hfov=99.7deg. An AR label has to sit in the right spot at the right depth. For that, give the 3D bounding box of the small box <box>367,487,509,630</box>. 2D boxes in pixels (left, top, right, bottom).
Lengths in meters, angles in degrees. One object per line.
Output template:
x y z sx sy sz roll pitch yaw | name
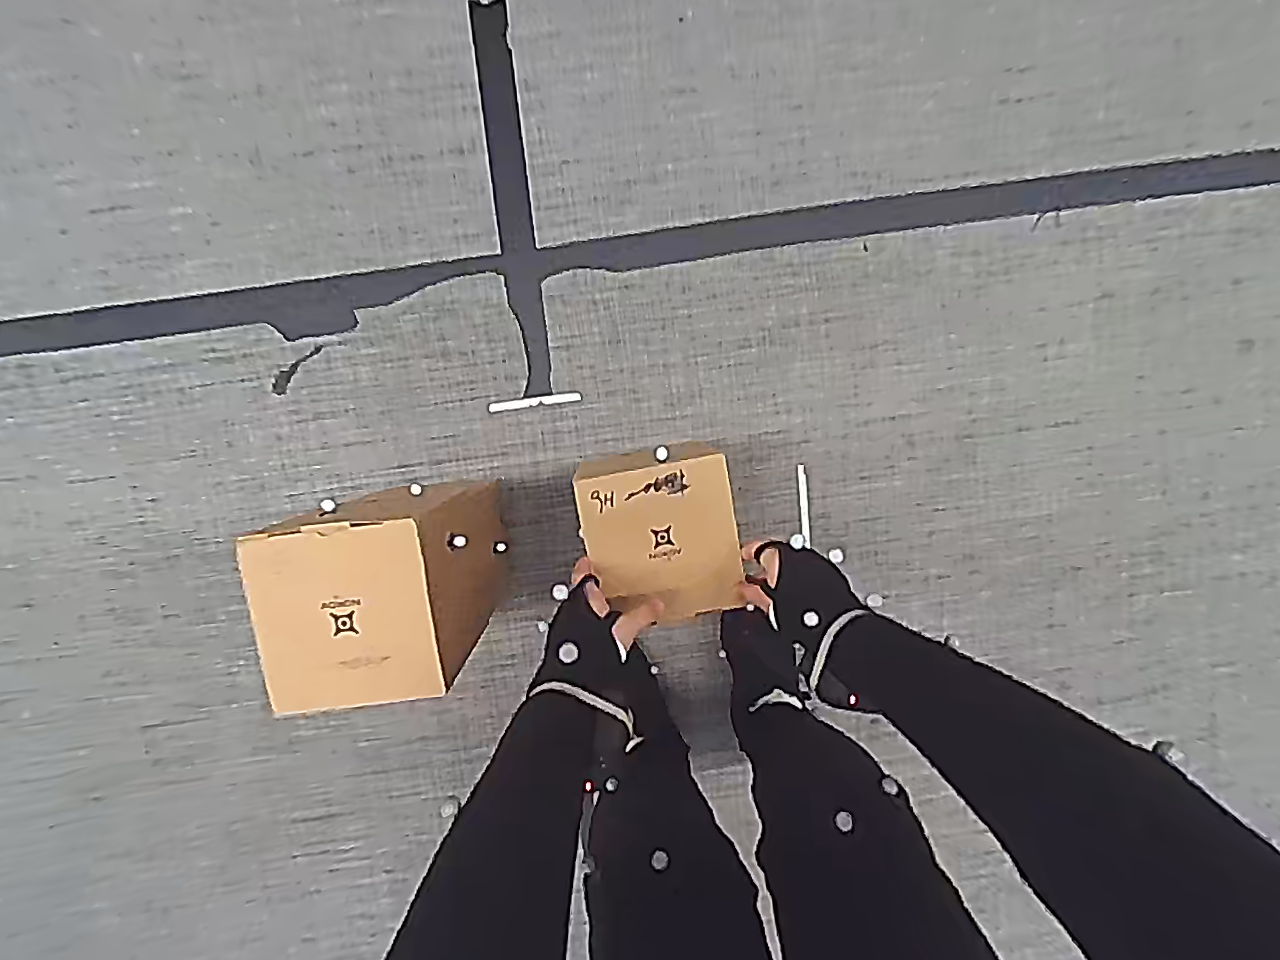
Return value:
-0.285 0.107 0.744 0.179 0.176 0.168 -6 98 -1 | small box

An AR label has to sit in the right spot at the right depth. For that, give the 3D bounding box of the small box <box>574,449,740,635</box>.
0.019 0.067 0.676 0.168 0.176 0.179 -10 99 -1 | small box

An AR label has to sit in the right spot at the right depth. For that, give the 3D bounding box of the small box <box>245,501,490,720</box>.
-0.272 0.124 0.583 0.168 0.176 0.179 -7 99 0 | small box
